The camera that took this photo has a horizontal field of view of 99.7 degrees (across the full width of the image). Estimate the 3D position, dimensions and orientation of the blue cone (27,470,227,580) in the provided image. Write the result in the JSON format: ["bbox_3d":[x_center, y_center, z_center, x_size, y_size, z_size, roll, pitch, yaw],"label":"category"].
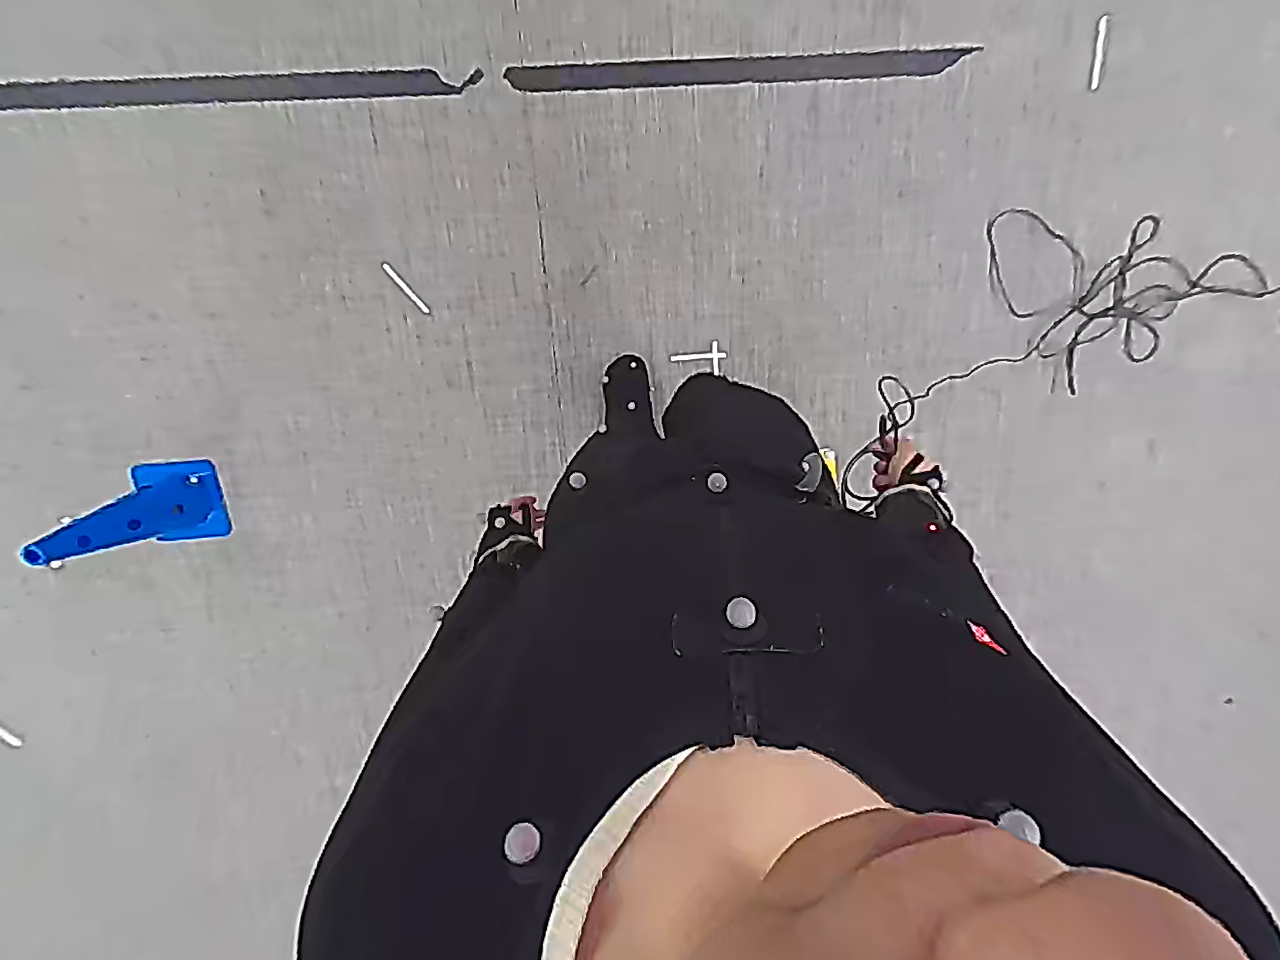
[{"bbox_3d":[-1.124,0.112,1.172,0.193,0.380,0.192,-3,105,-2],"label":"blue cone"}]
